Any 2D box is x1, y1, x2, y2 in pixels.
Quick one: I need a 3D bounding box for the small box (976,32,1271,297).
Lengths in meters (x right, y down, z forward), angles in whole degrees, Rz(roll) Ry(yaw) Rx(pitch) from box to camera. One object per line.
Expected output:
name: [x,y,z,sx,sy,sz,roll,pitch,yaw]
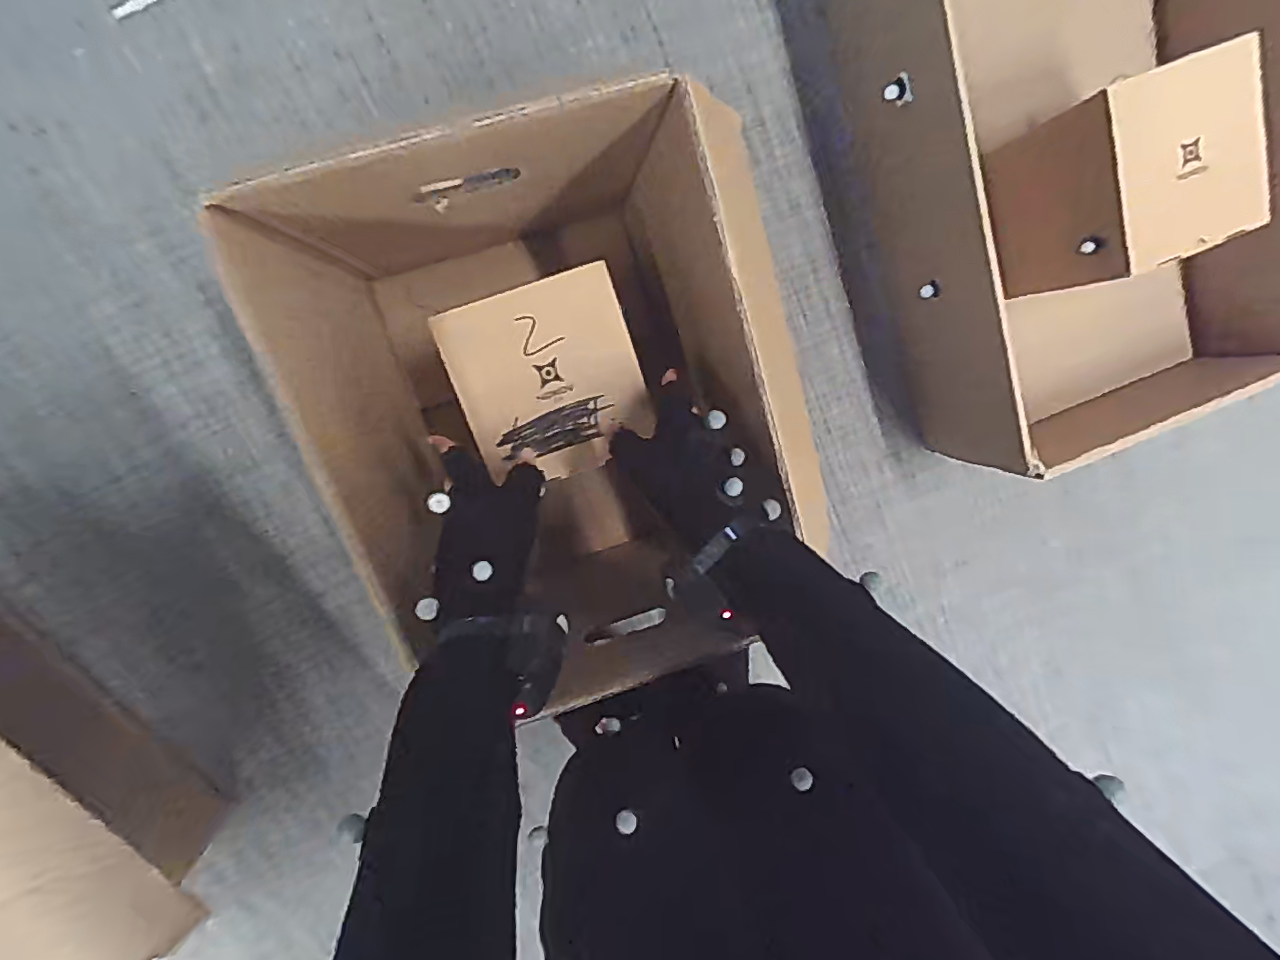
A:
small box: [0.506,-0.320,0.588,0.168,0.176,0.179,-22,103,-4]
